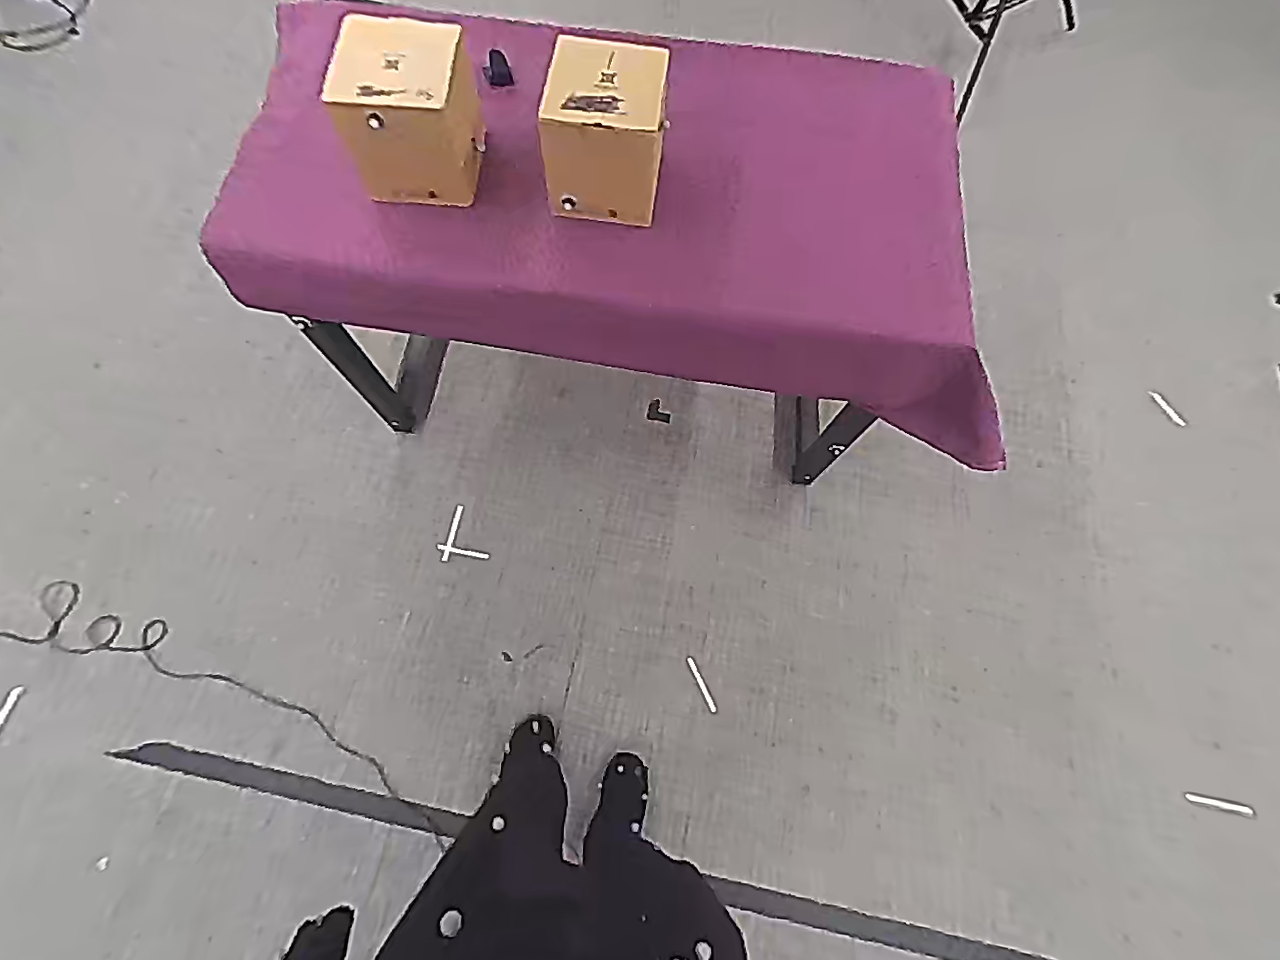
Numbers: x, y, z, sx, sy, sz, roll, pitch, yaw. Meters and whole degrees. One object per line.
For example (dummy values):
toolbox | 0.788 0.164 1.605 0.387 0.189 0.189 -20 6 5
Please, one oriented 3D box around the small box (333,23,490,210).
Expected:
small box | -0.338 -0.558 0.841 0.168 0.176 0.179 3 69 -2

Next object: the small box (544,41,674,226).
small box | -0.044 -0.531 0.845 0.168 0.176 0.179 8 69 0
